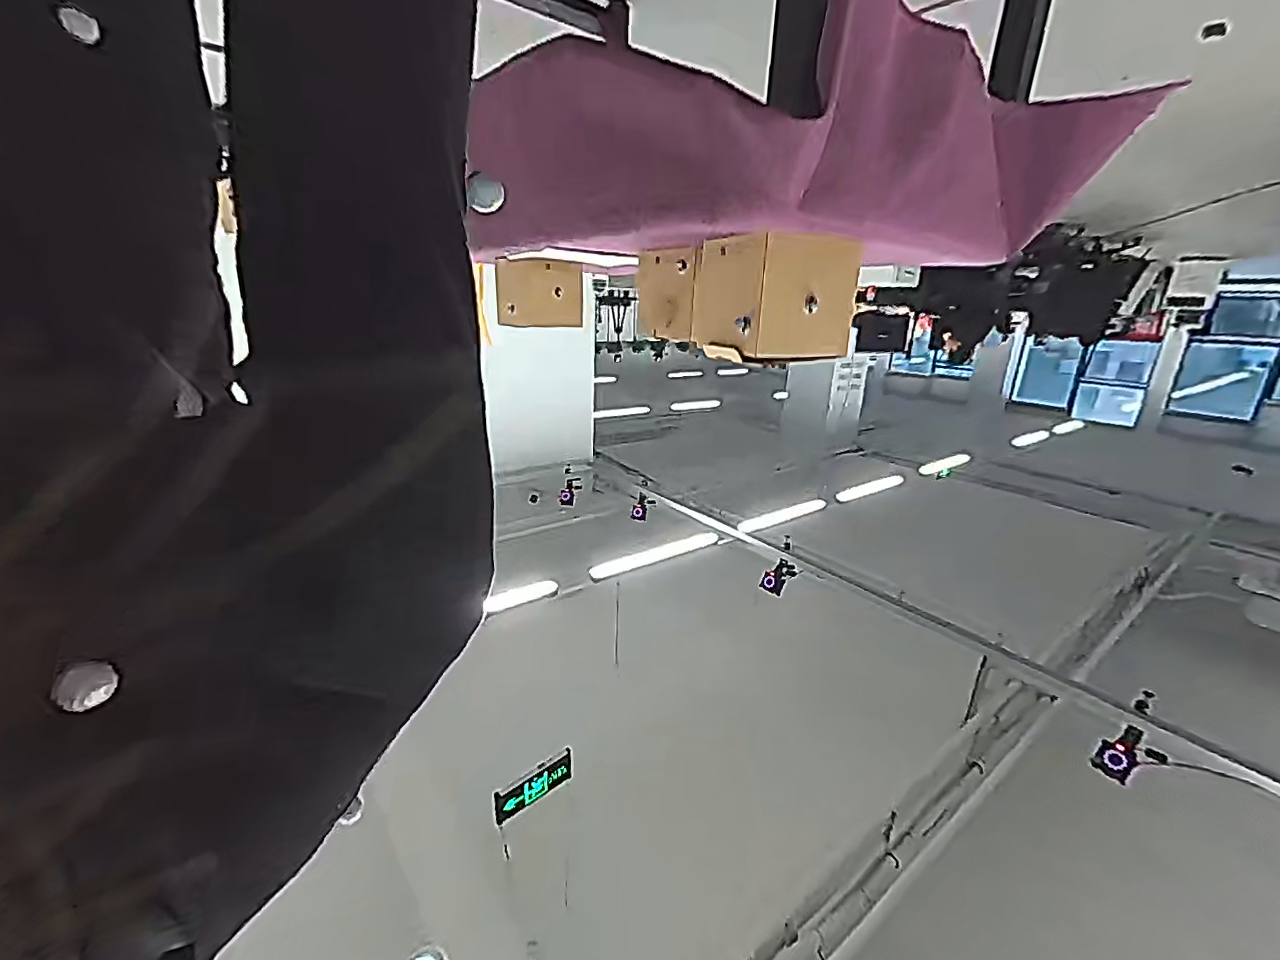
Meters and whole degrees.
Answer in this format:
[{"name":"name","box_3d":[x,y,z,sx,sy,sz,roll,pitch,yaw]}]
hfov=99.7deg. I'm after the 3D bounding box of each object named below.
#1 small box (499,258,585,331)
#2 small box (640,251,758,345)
[{"name":"small box","box_3d":[-0.260,-0.483,1.410,0.168,0.176,0.179,-13,-157,-38]},{"name":"small box","box_3d":[0.116,-0.363,1.081,0.179,0.176,0.168,-13,-156,-37]}]
